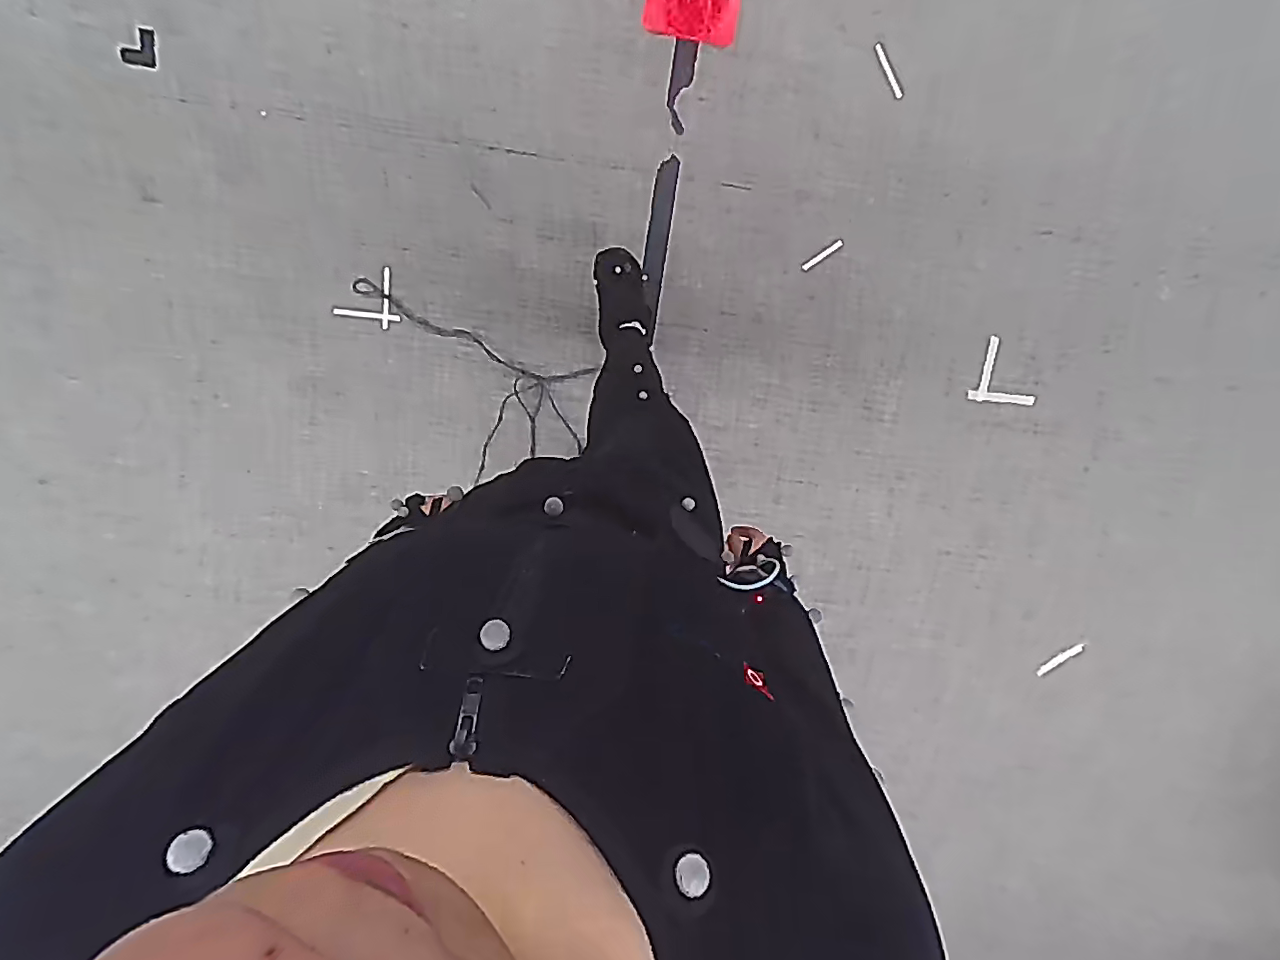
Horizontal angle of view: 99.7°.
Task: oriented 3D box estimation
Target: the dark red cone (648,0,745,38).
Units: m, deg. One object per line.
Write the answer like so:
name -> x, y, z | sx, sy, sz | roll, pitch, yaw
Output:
dark red cone -> 0.124, -0.985, 0.937 | 0.201, 0.394, 0.202 | 7, 103, -3
